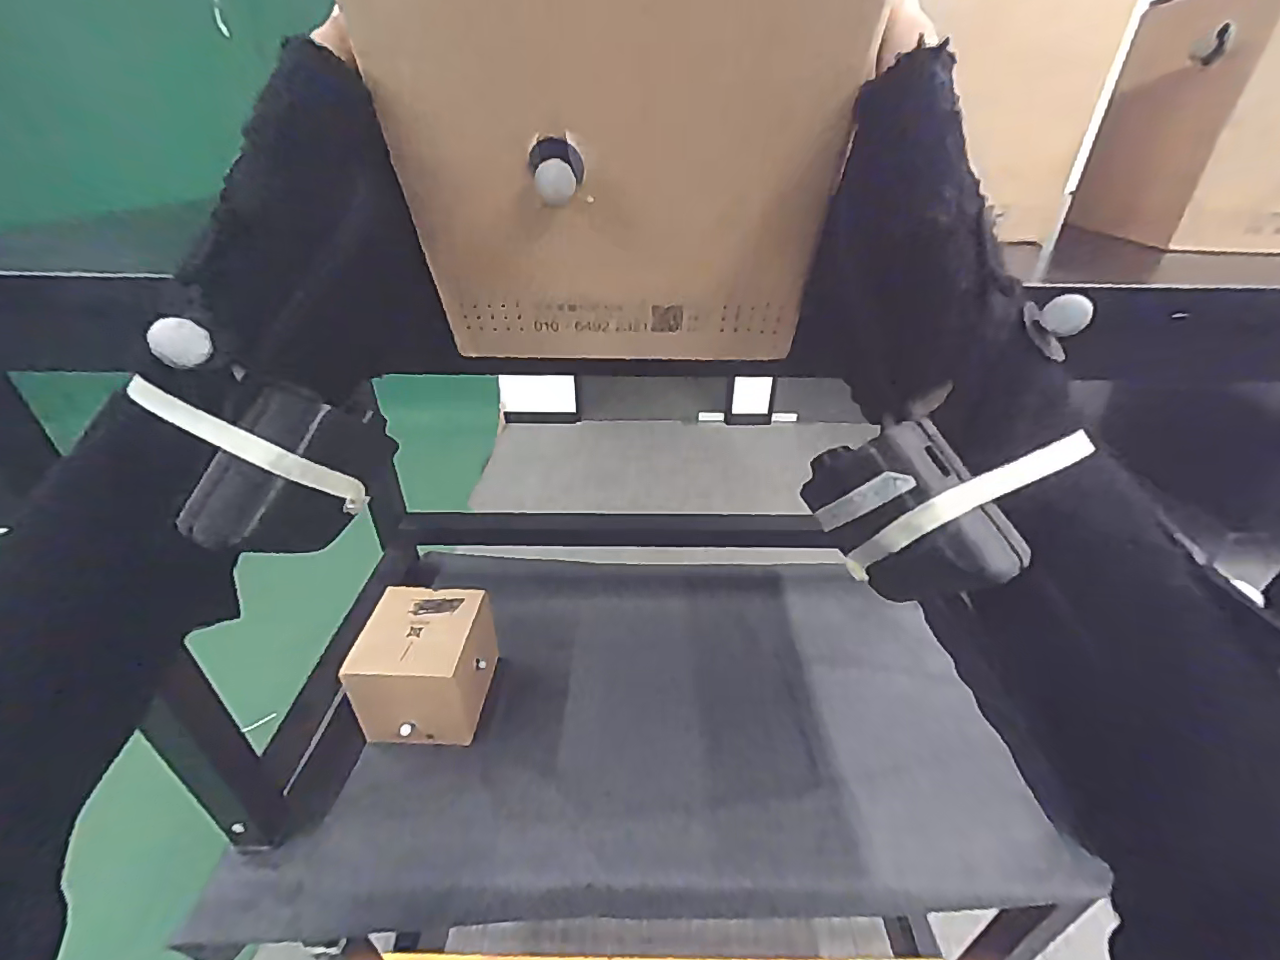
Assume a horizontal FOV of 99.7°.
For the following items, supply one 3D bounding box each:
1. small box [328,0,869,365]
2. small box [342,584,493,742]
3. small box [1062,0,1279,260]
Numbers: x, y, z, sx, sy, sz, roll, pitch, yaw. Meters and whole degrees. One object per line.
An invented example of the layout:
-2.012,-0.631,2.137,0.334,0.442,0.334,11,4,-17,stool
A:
-0.008,-0.171,0.257,0.168,0.176,0.179,1,55,0,small box
-0.343,0.292,0.877,0.168,0.176,0.179,1,33,1,small box
0.482,-0.273,0.420,0.168,0.176,0.179,7,33,9,small box
